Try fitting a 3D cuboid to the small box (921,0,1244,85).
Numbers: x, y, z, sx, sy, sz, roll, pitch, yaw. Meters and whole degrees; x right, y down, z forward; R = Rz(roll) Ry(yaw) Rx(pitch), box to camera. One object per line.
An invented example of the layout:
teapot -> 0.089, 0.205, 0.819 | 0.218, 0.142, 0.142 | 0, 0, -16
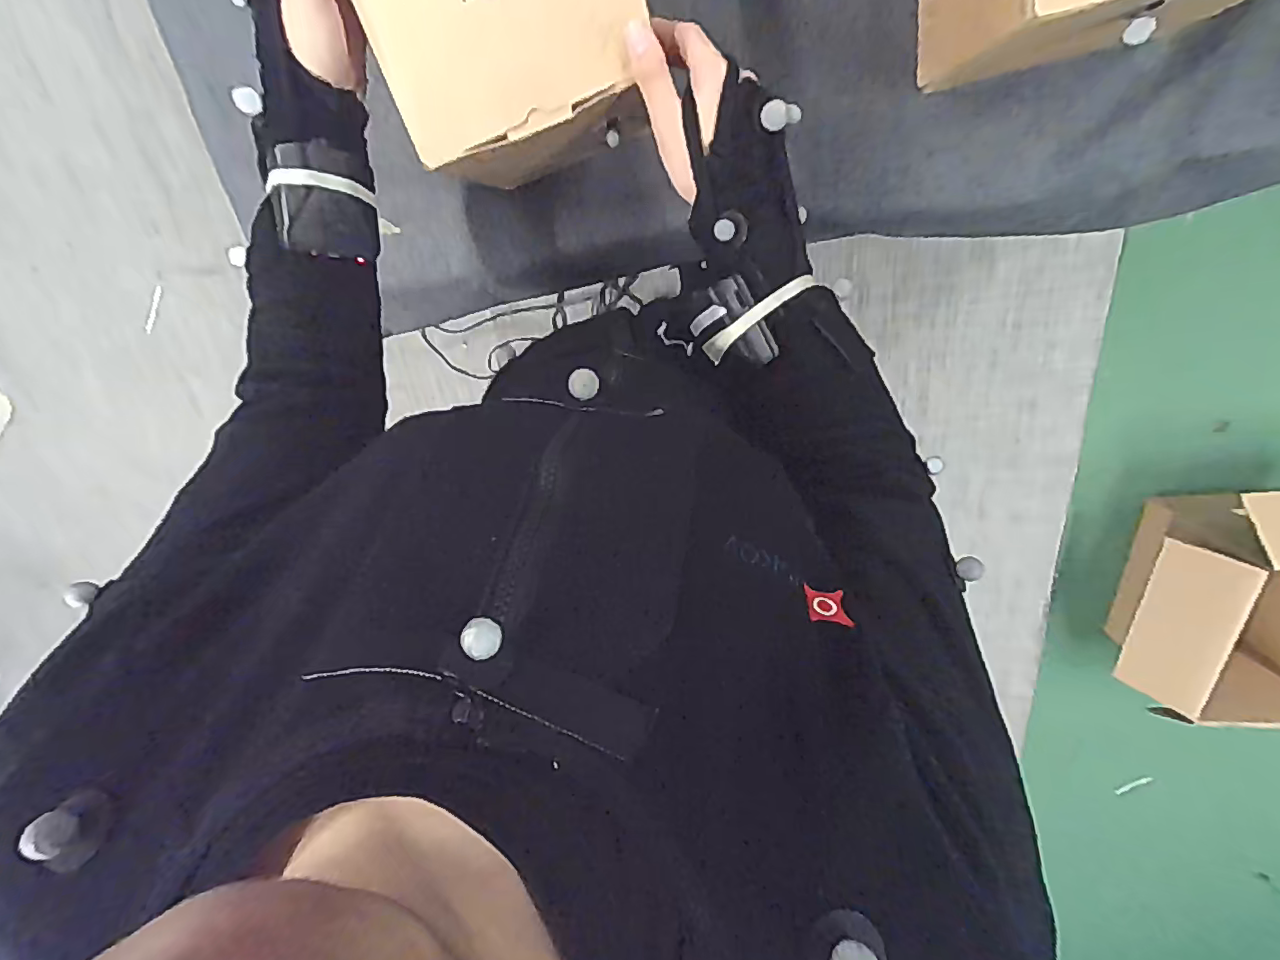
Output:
small box -> 0.290, -0.364, 0.317 | 0.179, 0.176, 0.168 | -7, 114, 11
